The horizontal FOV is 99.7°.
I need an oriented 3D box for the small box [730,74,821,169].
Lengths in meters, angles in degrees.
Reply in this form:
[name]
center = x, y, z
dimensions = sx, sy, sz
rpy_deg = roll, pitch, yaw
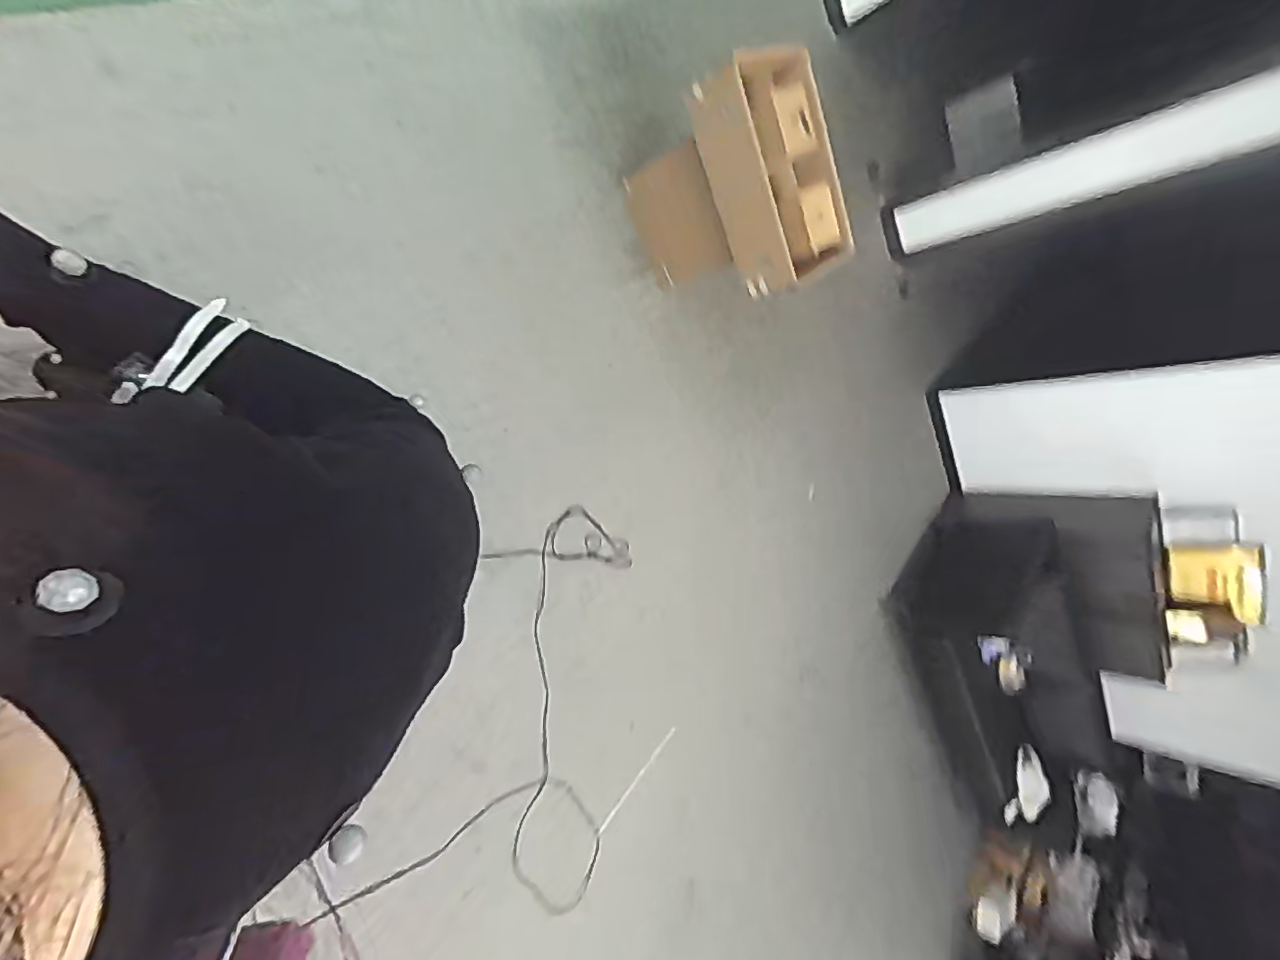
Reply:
[small box]
center = 0.392, -1.036, 1.569
dimensions = 0.179, 0.176, 0.168
rpy_deg = -38, 115, -31
